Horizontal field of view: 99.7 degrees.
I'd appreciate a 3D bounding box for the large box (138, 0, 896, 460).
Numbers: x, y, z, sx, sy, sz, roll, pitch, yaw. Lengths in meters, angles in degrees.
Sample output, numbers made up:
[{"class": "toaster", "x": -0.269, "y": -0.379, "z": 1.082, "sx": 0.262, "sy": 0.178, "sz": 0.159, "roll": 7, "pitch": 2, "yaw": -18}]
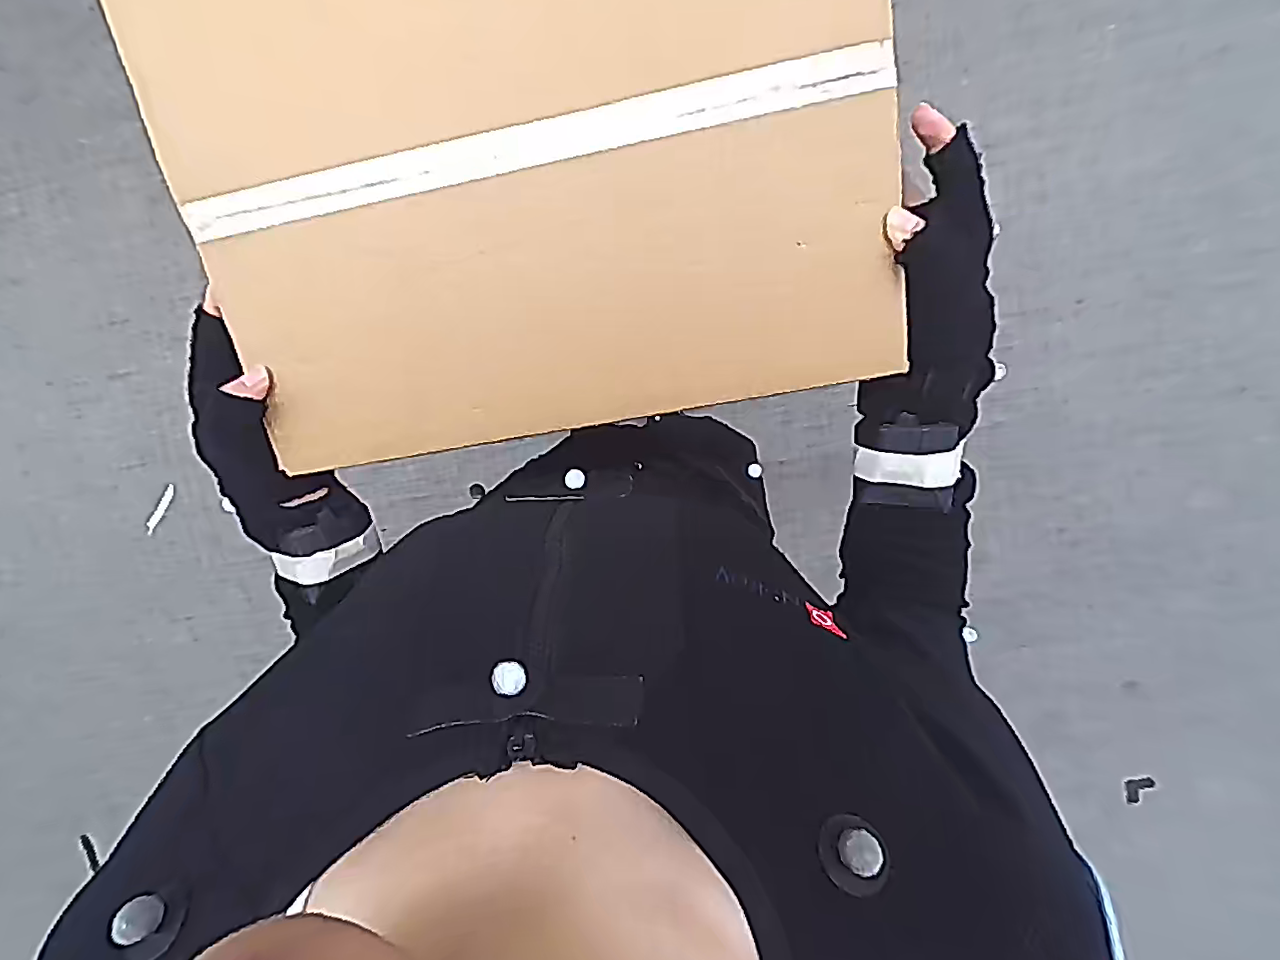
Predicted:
[{"class": "large box", "x": -0.058, "y": -0.230, "z": 0.455, "sx": 0.408, "sy": 0.320, "sz": 0.320, "roll": -9, "pitch": 107, "yaw": 6}]
